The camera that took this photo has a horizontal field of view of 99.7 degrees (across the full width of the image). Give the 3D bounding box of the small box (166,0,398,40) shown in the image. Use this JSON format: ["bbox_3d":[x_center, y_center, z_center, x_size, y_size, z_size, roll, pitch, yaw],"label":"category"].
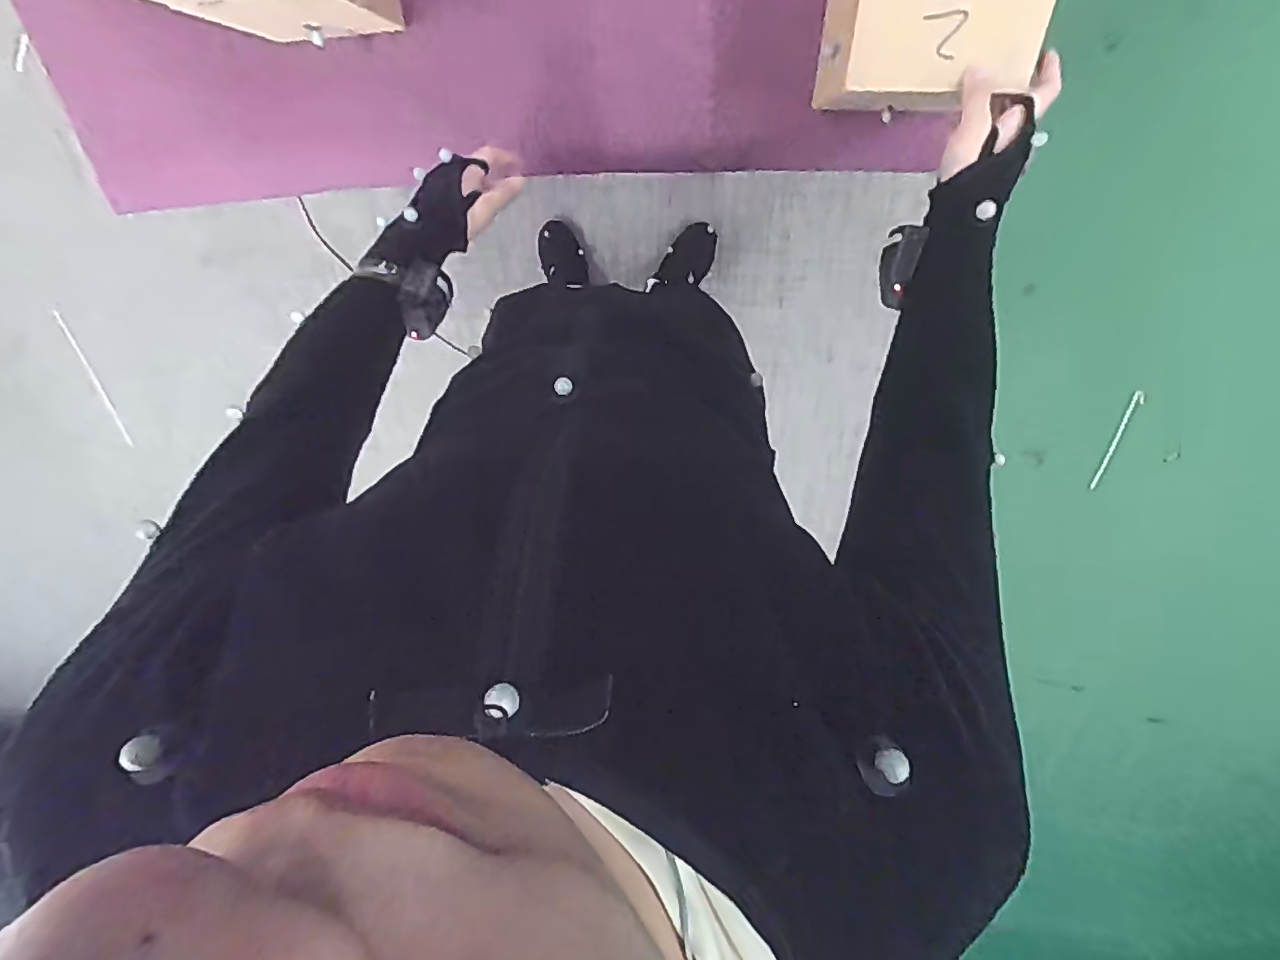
[{"bbox_3d":[-0.373,-0.570,0.537,0.168,0.176,0.179,0,121,6],"label":"small box"}]
